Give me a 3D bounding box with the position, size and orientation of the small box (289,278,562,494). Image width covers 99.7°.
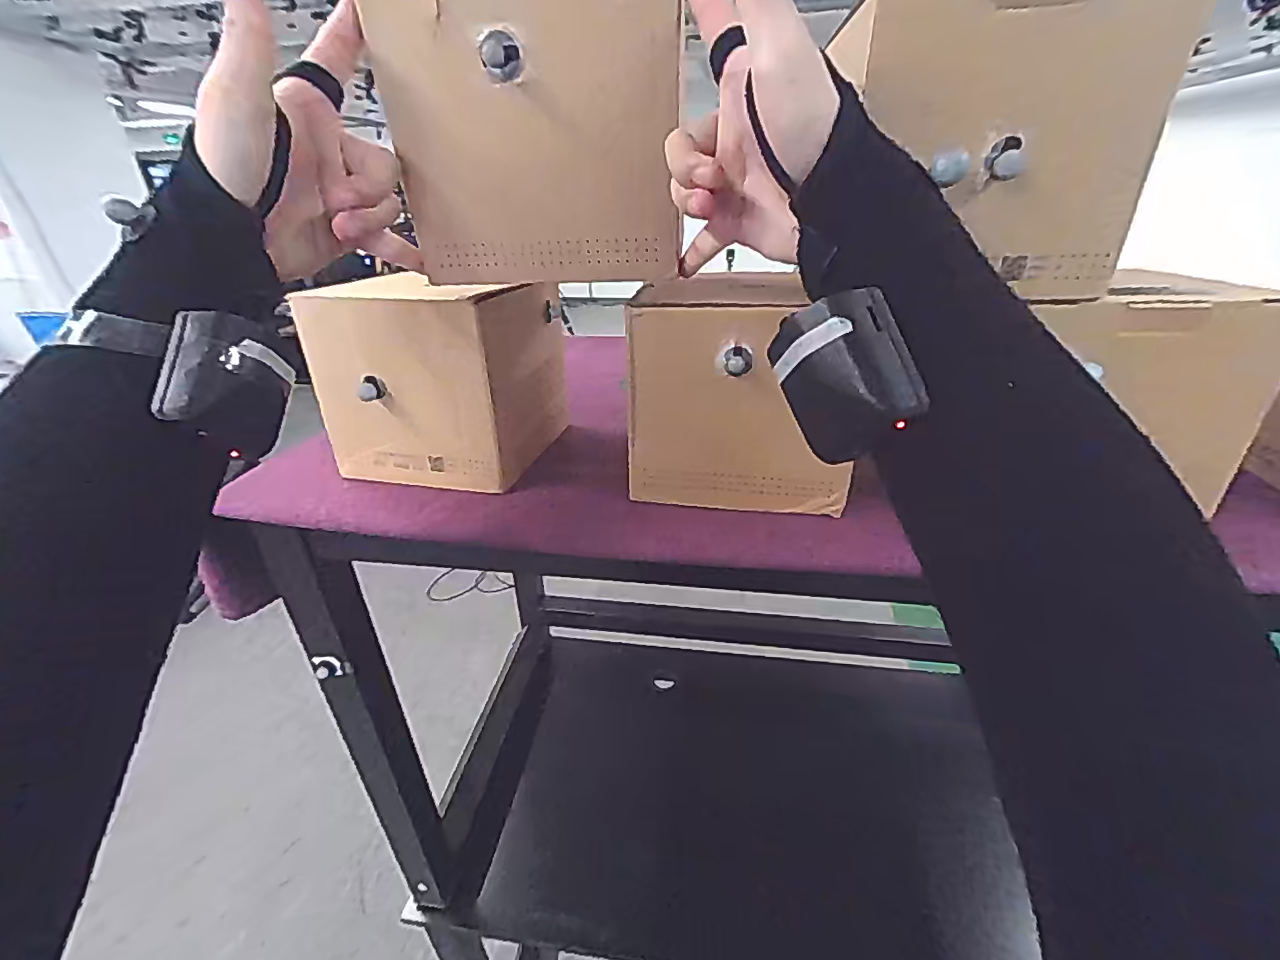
[{"bbox_3d":[-0.182,-0.098,0.523,0.168,0.176,0.179,4,27,12],"label":"small box"}]

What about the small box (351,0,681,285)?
[{"bbox_3d":[-0.062,-0.244,0.385,0.179,0.176,0.168,0,36,5],"label":"small box"}]

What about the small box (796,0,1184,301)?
[{"bbox_3d":[0.211,-0.226,0.383,0.168,0.176,0.179,2,28,6],"label":"small box"}]
